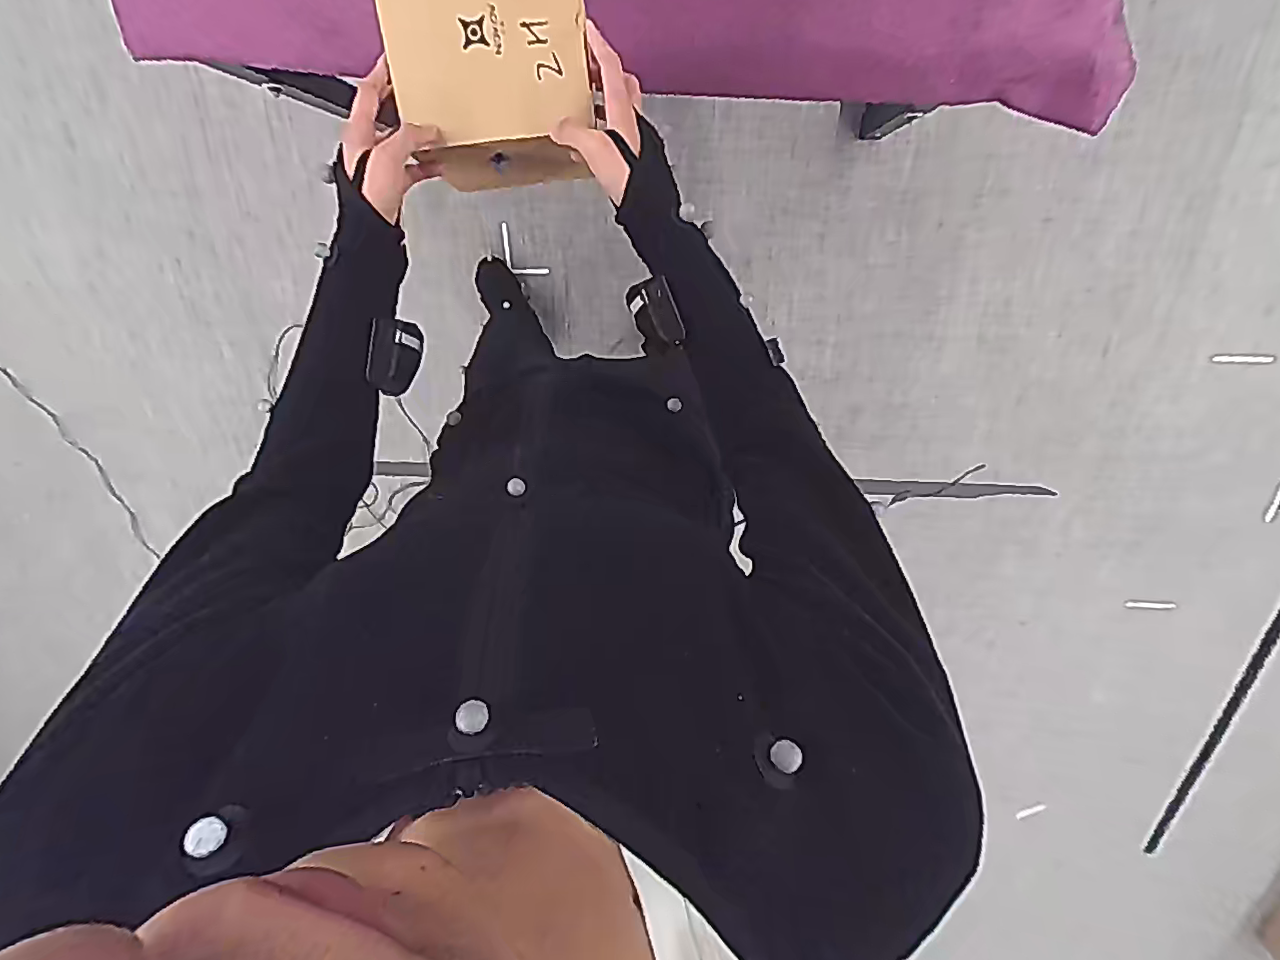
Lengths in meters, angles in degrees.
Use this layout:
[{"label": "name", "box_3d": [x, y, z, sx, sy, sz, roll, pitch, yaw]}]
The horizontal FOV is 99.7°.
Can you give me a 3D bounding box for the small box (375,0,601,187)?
[{"label": "small box", "box_3d": [-0.136, -0.405, 0.540, 0.179, 0.176, 0.168, -6, 107, -1]}]
